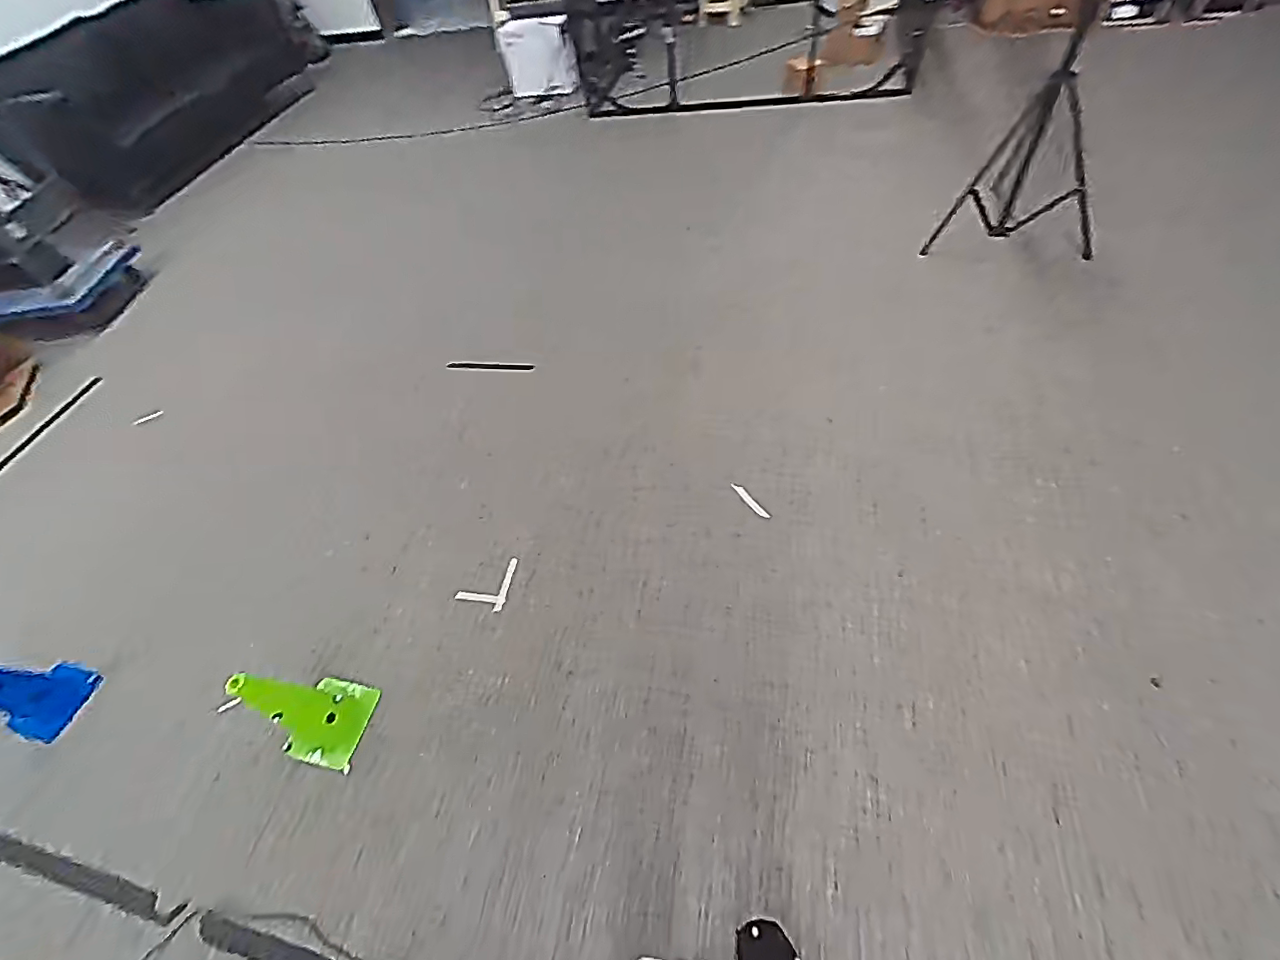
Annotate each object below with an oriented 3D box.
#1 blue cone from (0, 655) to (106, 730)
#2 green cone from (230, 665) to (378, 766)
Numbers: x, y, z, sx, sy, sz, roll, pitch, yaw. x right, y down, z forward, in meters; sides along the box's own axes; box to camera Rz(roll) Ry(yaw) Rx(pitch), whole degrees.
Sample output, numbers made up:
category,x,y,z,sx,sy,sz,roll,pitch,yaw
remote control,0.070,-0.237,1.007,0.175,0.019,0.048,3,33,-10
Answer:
category,x,y,z,sx,sy,sz,roll,pitch,yaw
blue cone,-1.750,0.537,1.486,0.193,0.380,0.192,10,55,16
green cone,-0.847,0.535,1.311,0.200,0.368,0.202,6,54,14
